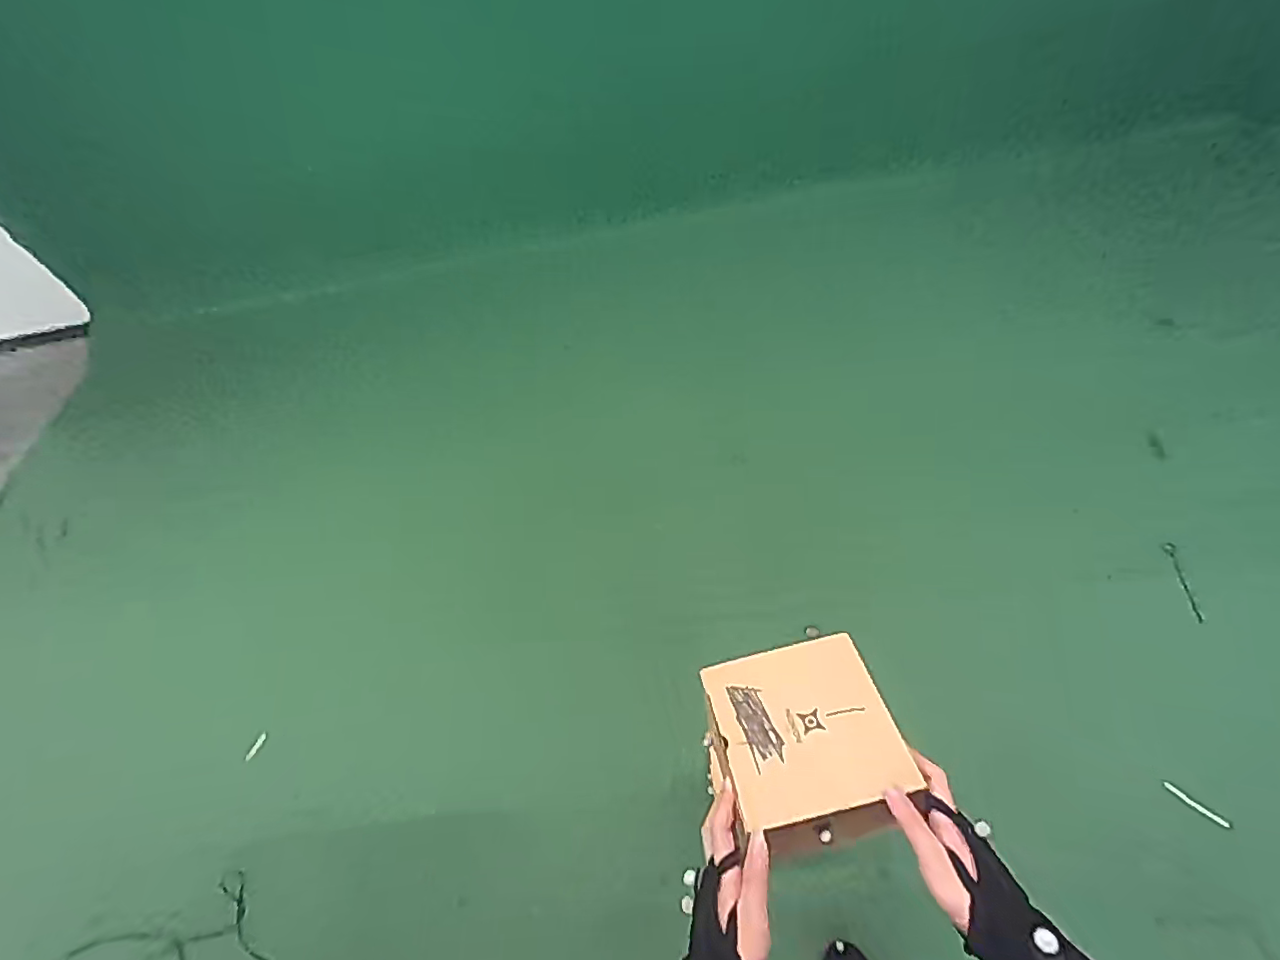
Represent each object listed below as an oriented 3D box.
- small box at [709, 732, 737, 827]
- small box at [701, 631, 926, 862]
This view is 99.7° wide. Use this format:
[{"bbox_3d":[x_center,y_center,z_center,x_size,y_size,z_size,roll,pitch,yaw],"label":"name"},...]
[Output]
[{"bbox_3d":[0.250,0.625,1.142,0.179,0.176,0.168,-12,54,5],"label":"small box"},{"bbox_3d":[0.177,0.298,0.601,0.179,0.176,0.168,-13,45,-2],"label":"small box"}]
